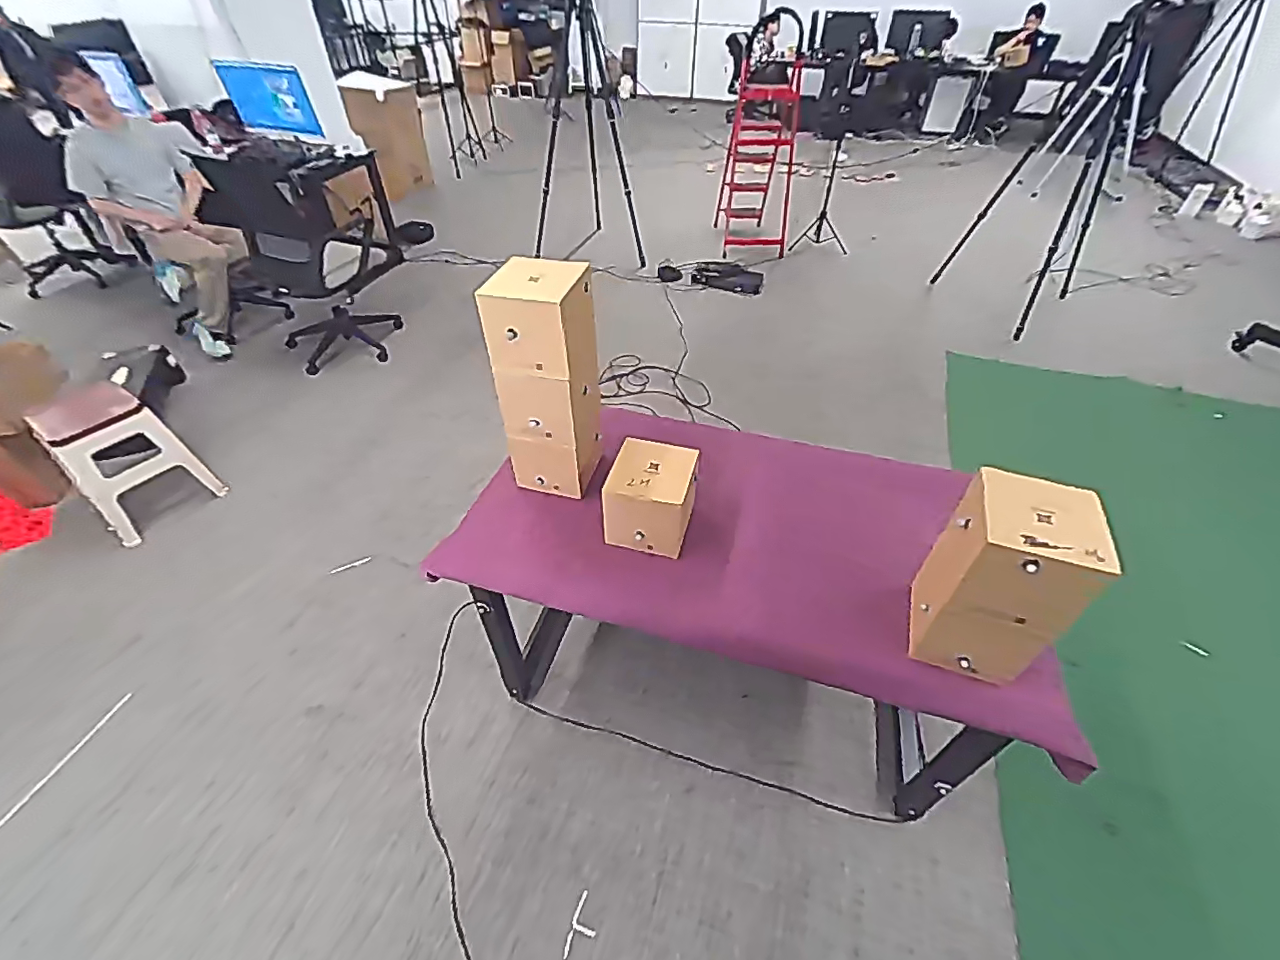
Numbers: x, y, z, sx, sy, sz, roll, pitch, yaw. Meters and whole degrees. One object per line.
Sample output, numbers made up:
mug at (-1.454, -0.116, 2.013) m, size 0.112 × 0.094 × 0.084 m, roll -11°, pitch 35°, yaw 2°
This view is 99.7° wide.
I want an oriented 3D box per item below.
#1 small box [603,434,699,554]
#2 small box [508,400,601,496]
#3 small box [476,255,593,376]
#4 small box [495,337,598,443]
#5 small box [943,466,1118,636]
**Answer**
small box at (0.025, 0.031, 1.172) m, size 0.168 × 0.176 × 0.179 m, roll 12°, pitch 46°, yaw 12°
small box at (-0.196, -0.090, 1.296) m, size 0.168 × 0.176 × 0.179 m, roll 10°, pitch 46°, yaw 11°
small box at (-0.195, -0.324, 1.069) m, size 0.168 × 0.176 × 0.179 m, roll 9°, pitch 45°, yaw 11°
small box at (-0.194, -0.208, 1.182) m, size 0.168 × 0.176 × 0.179 m, roll 10°, pitch 46°, yaw 11°
small box at (0.596, 0.110, 0.855) m, size 0.168 × 0.176 × 0.179 m, roll 15°, pitch 45°, yaw 16°
